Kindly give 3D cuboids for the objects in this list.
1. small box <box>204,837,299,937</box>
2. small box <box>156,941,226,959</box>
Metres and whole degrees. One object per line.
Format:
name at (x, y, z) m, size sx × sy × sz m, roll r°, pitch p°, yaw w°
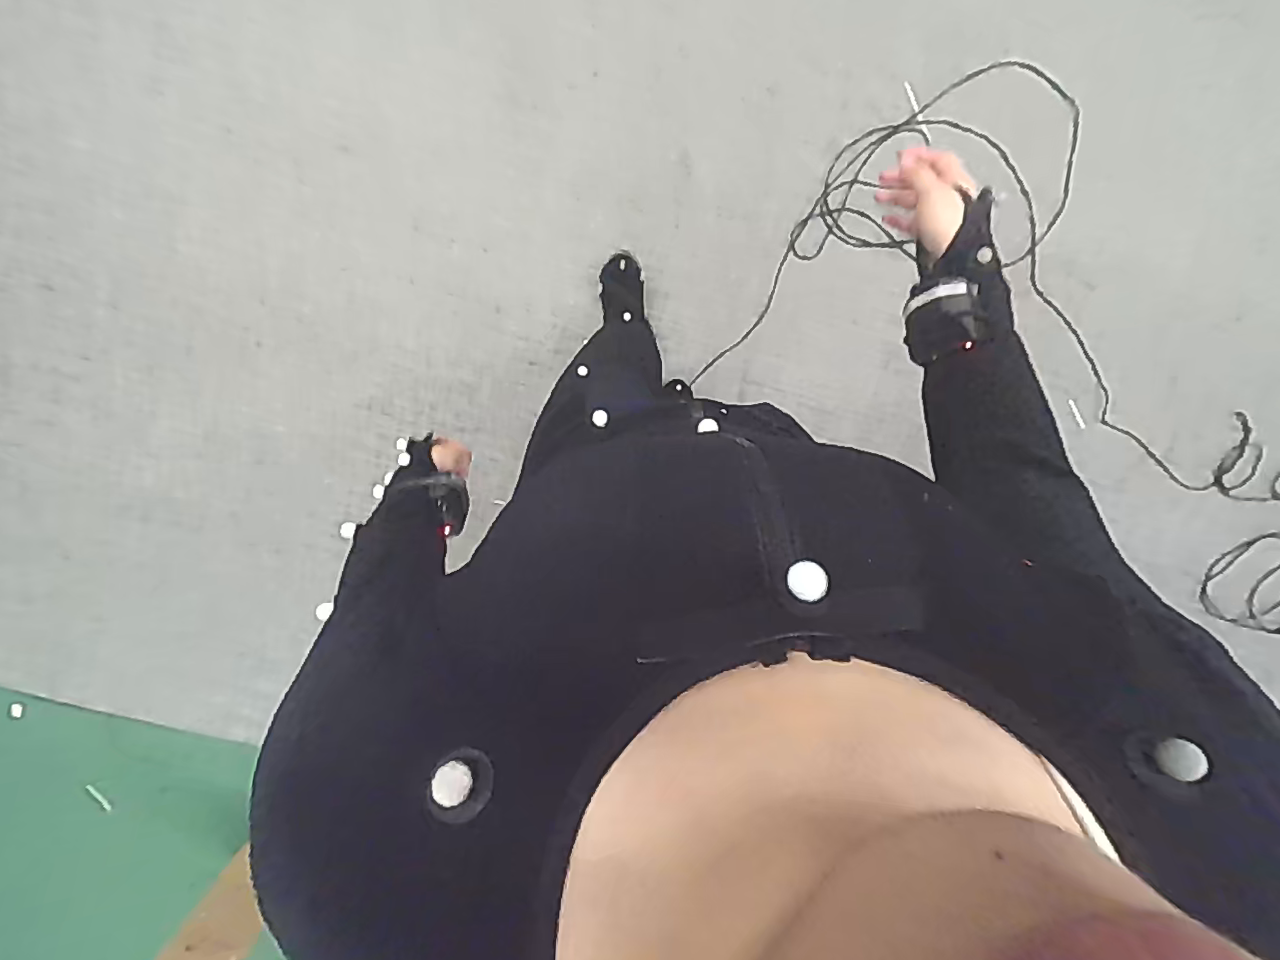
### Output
small box at (-1.228, 1.290, 1.723) m, size 0.168 × 0.176 × 0.179 m, roll 23°, pitch 103°, yaw -6°
small box at (-1.217, 1.362, 1.402) m, size 0.168 × 0.176 × 0.179 m, roll 19°, pitch 104°, yaw -4°
